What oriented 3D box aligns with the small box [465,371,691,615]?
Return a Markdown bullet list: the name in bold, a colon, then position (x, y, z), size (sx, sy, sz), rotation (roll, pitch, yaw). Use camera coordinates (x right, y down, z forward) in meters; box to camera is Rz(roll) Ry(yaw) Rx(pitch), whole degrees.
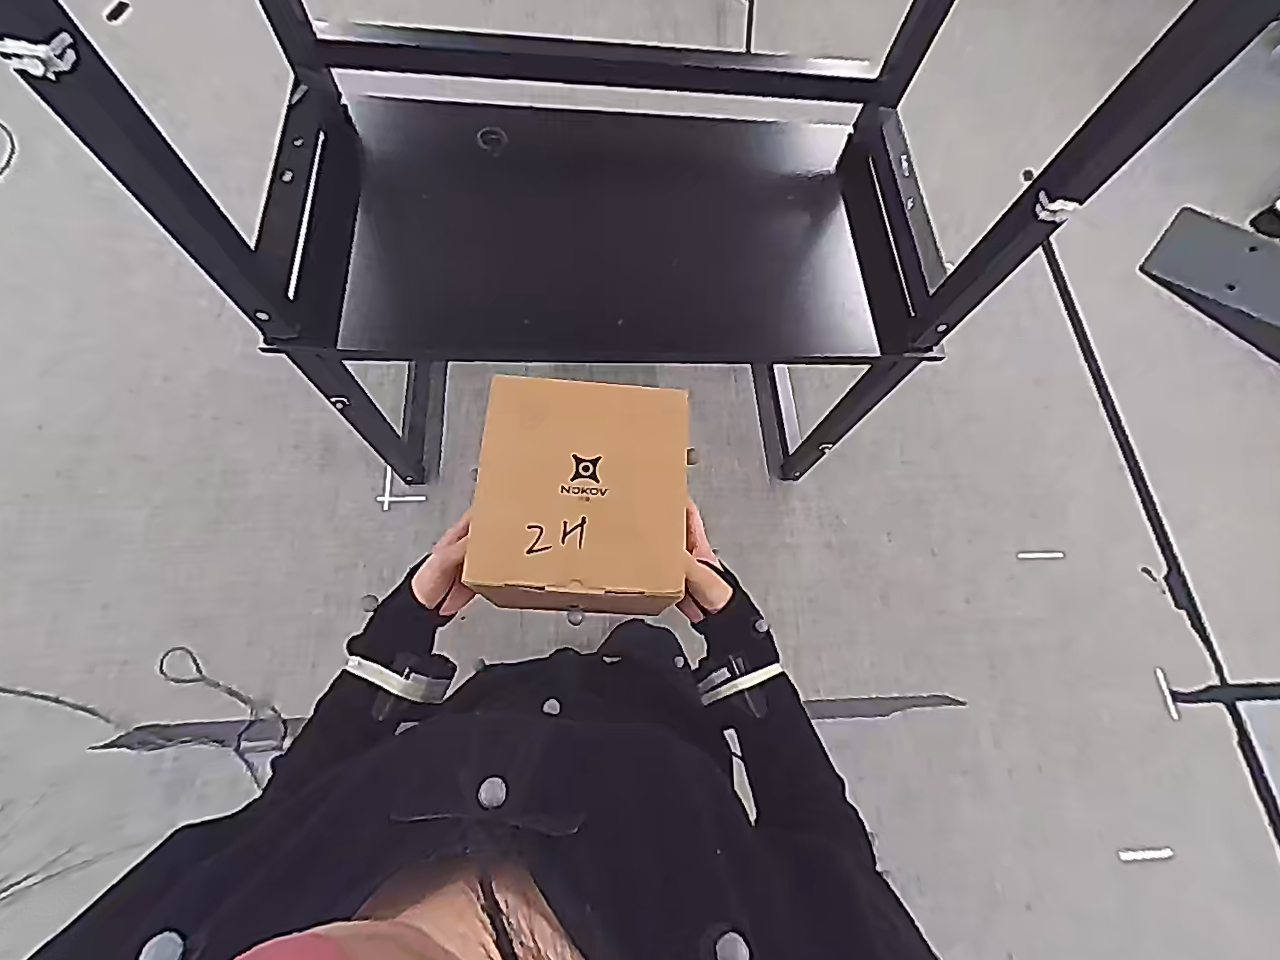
- **small box**: position (-0.050, 0.023, 0.501), size (0.168, 0.176, 0.179), rotation (4, 71, -4)
